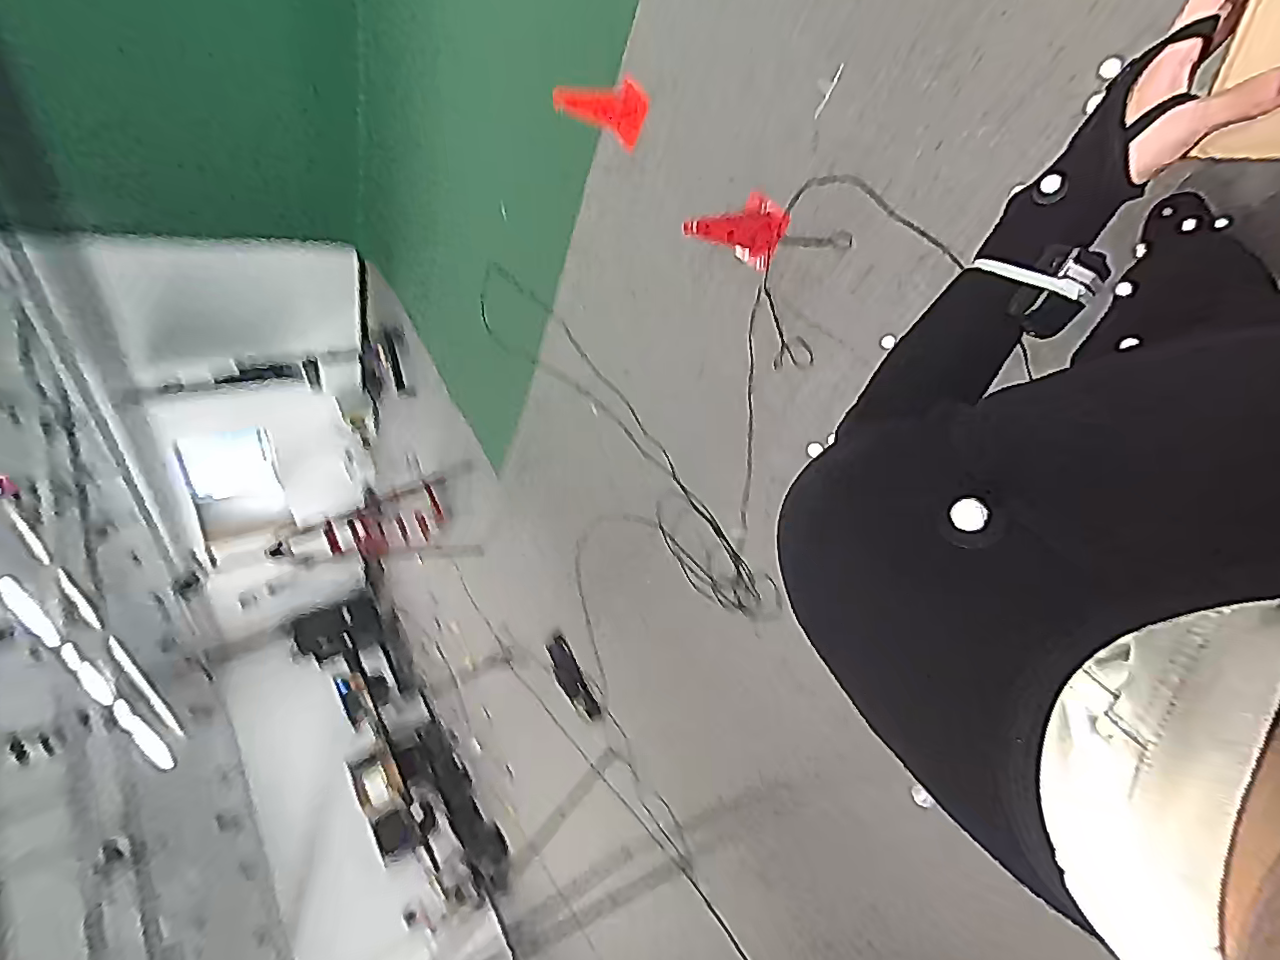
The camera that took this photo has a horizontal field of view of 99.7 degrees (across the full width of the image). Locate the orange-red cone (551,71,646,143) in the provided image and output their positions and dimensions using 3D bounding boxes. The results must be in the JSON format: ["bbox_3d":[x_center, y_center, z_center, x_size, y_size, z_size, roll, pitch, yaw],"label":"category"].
[{"bbox_3d":[-0.188,-1.492,2.124,0.198,0.360,0.199,60,143,17],"label":"orange-red cone"}]
